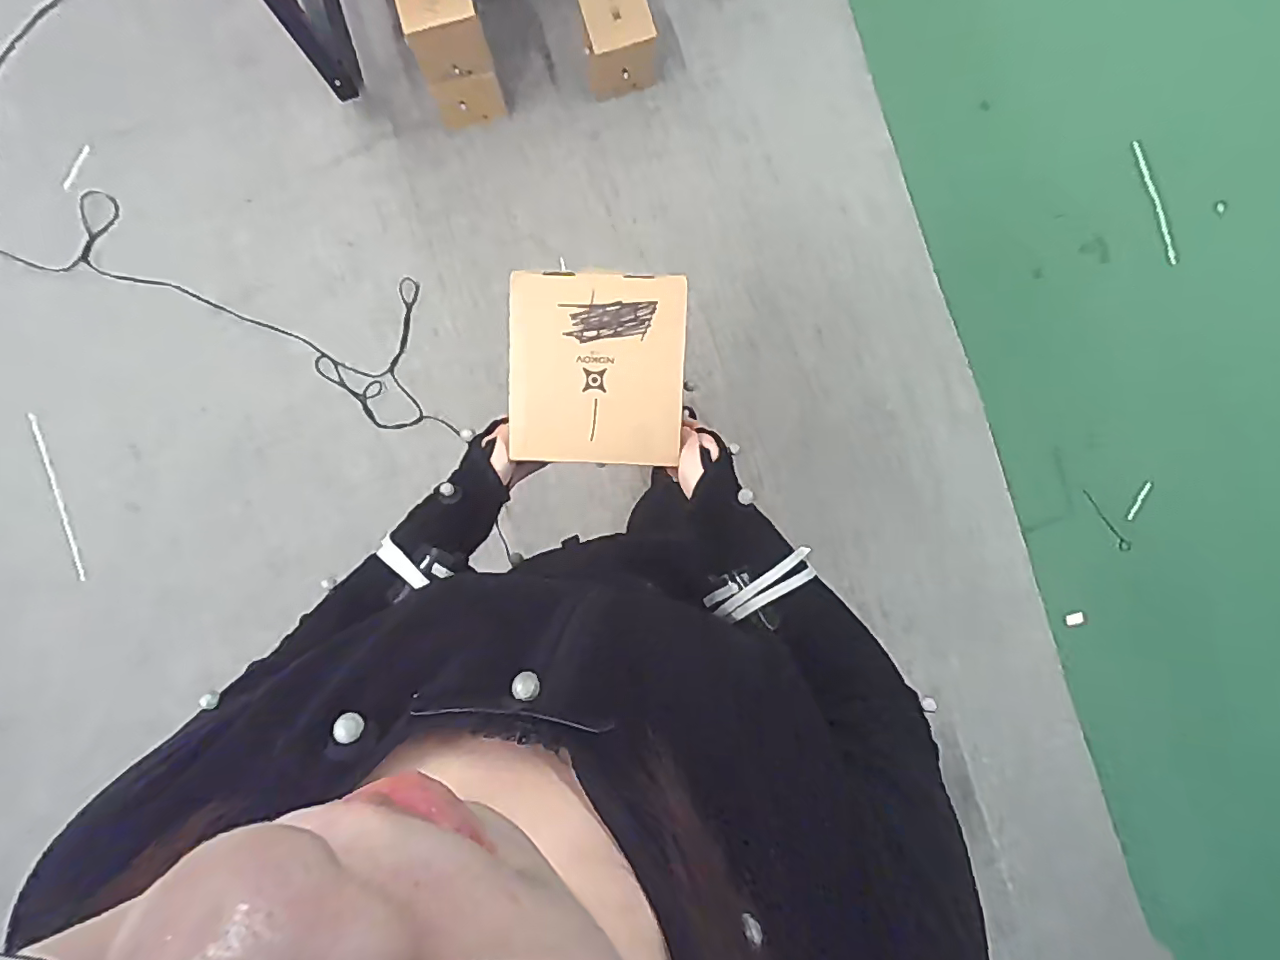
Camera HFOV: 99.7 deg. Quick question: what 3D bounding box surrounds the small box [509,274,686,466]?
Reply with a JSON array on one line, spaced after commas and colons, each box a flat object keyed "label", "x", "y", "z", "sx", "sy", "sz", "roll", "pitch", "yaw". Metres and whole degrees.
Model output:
[{"label": "small box", "x": -0.041, "y": -0.116, "z": 0.598, "sx": 0.168, "sy": 0.176, "sz": 0.179, "roll": 3, "pitch": 99, "yaw": 2}]
